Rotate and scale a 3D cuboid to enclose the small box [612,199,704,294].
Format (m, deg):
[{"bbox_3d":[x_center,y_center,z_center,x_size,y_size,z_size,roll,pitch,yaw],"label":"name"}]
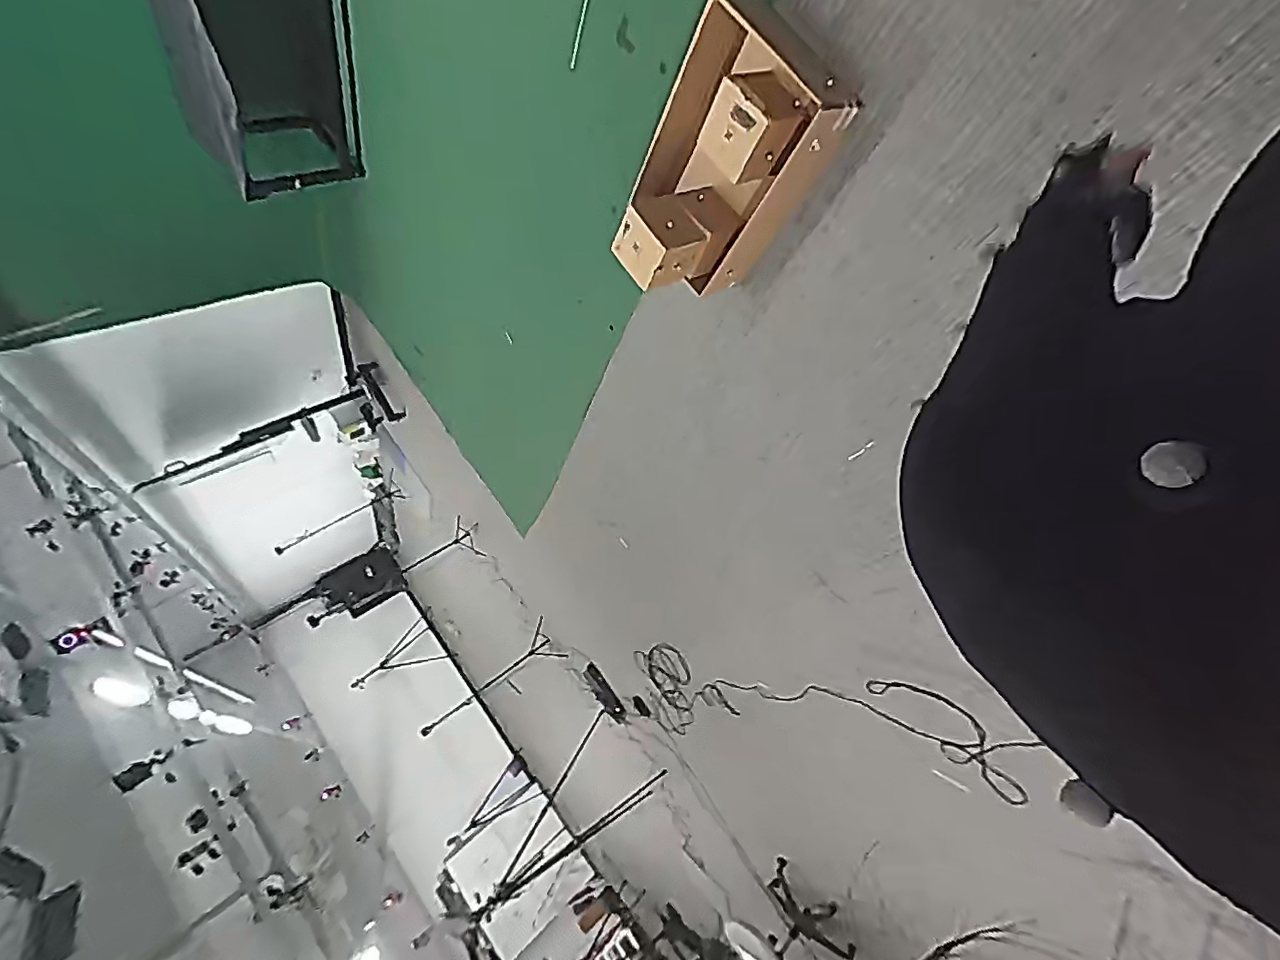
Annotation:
[{"bbox_3d":[0.054,-0.678,1.562,0.179,0.176,0.168,53,147,6],"label":"small box"}]

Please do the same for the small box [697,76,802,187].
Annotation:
[{"bbox_3d":[0.284,-0.893,1.379,0.168,0.176,0.179,52,148,8],"label":"small box"}]
